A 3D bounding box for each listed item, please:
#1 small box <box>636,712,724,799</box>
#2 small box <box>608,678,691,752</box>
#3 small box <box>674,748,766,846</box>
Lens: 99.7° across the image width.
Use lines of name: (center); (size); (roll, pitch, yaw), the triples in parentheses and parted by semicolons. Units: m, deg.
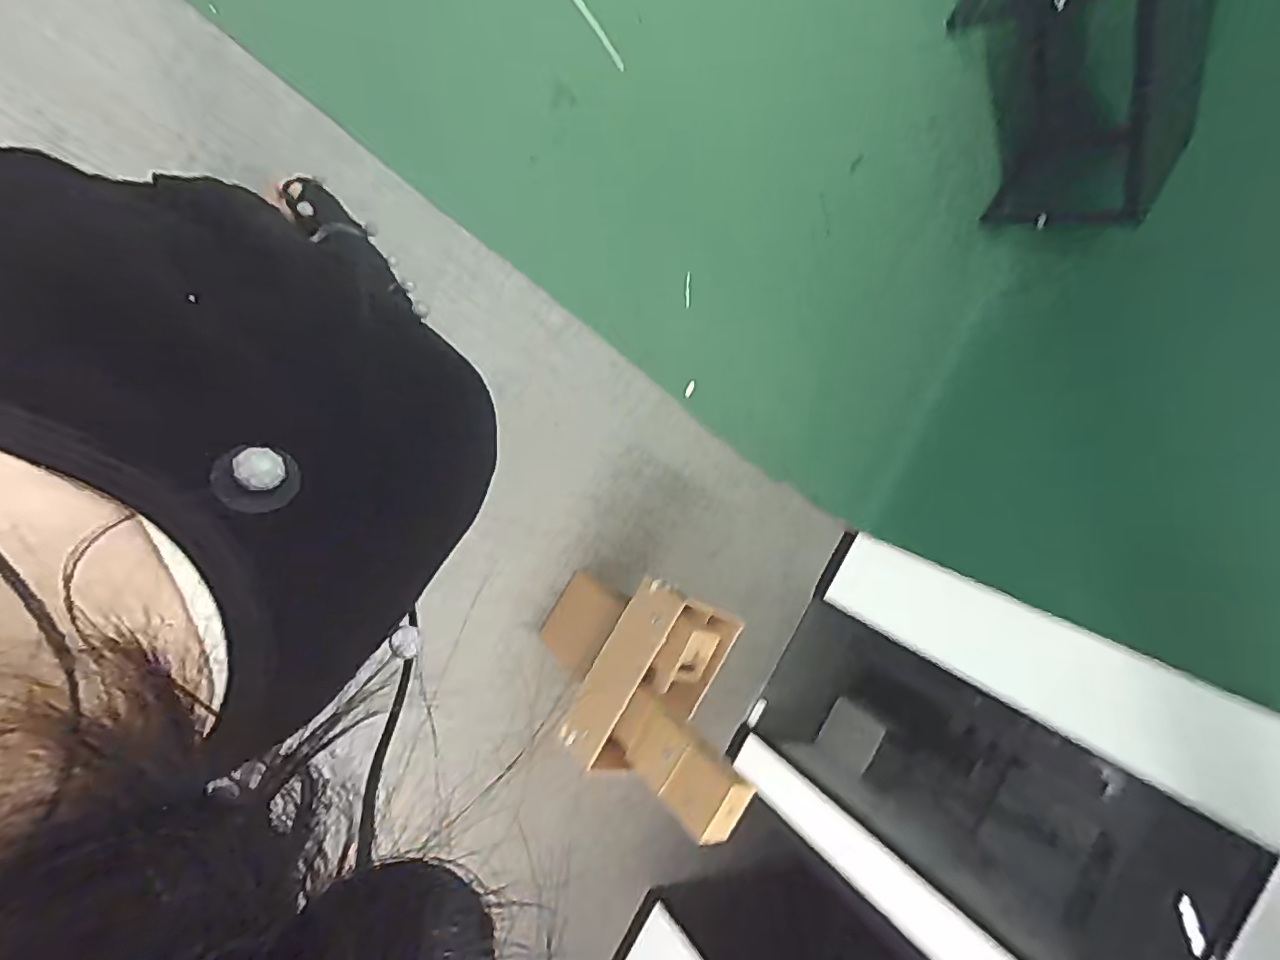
small box: (0.119, 0.845, 1.663); (0.168, 0.176, 0.179); (36, 85, -43)
small box: (0.028, 0.780, 1.784); (0.179, 0.176, 0.168); (38, 83, -43)
small box: (0.221, 0.907, 1.552); (0.168, 0.176, 0.179); (36, 84, -44)
